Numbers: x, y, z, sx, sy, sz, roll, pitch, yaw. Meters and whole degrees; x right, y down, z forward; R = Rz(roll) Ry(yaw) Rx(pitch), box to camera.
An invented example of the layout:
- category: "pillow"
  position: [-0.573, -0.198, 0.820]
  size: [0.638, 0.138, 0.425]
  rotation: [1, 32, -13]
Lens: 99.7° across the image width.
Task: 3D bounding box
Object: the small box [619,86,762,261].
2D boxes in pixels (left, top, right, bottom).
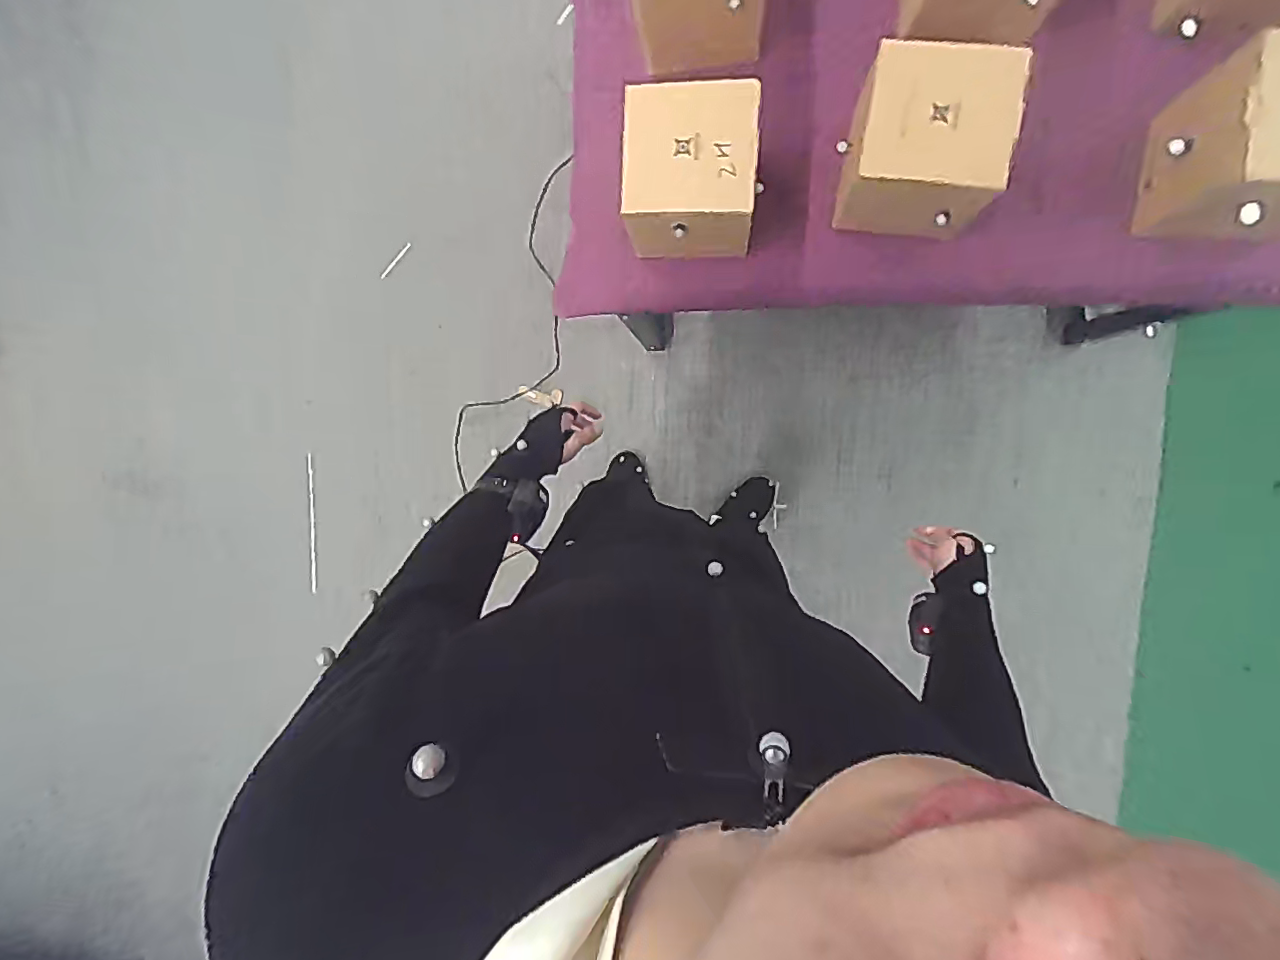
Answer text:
- category: "small box"
  position: [0.074, -0.426, 0.777]
  size: [0.179, 0.176, 0.168]
  rotation: [4, 94, 7]

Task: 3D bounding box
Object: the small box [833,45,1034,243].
- category: "small box"
  position: [0.381, -0.441, 0.737]
  size: [0.179, 0.176, 0.168]
  rotation: [11, 94, 8]

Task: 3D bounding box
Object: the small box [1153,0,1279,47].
- category: "small box"
  position: [0.790, -0.676, 0.661]
  size: [0.168, 0.176, 0.179]
  rotation: [9, 95, 7]

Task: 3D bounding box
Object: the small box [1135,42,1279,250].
- category: "small box"
  position: [0.786, -0.405, 0.680]
  size: [0.179, 0.176, 0.168]
  rotation: [8, 94, 8]

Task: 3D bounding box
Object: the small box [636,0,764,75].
- category: "small box"
  position: [0.084, -0.710, 0.760]
  size: [0.179, 0.176, 0.168]
  rotation: [-1, 94, 7]
